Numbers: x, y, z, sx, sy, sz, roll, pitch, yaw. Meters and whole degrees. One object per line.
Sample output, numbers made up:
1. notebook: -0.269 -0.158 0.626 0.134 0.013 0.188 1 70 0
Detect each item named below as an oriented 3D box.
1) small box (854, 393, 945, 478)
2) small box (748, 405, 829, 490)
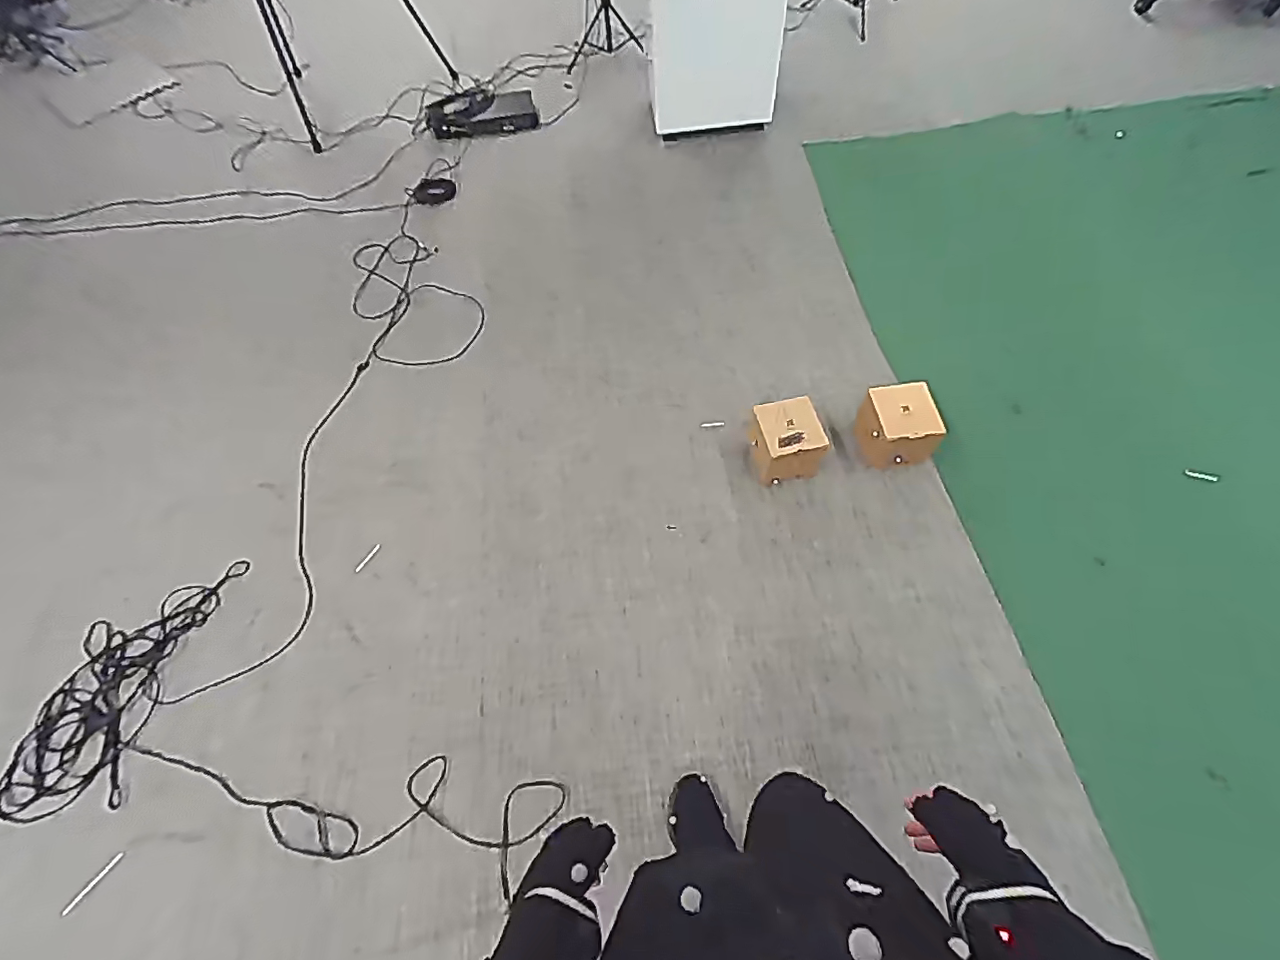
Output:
1. small box: 0.743 -0.127 1.572 0.168 0.176 0.179 -7 61 0
2. small box: 0.422 -0.086 1.567 0.168 0.176 0.179 -11 60 -3
